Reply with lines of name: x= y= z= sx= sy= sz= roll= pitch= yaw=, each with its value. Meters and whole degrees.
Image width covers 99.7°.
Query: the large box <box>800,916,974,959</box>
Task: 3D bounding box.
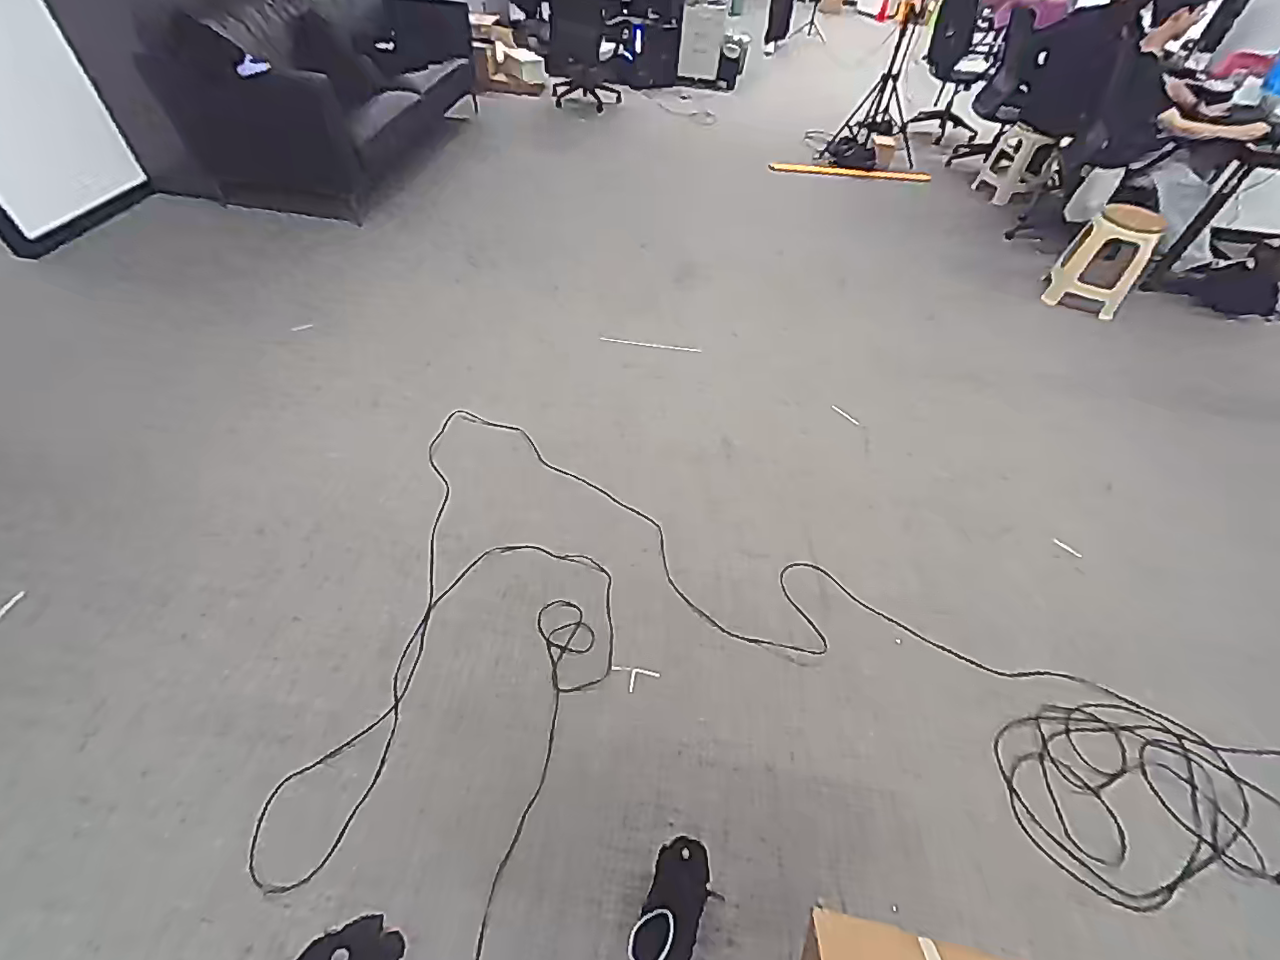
large box: x=0.345 y=0.835 z=0.602 sx=0.320 sy=0.320 sz=0.408 roll=12 pitch=5 yaw=8
